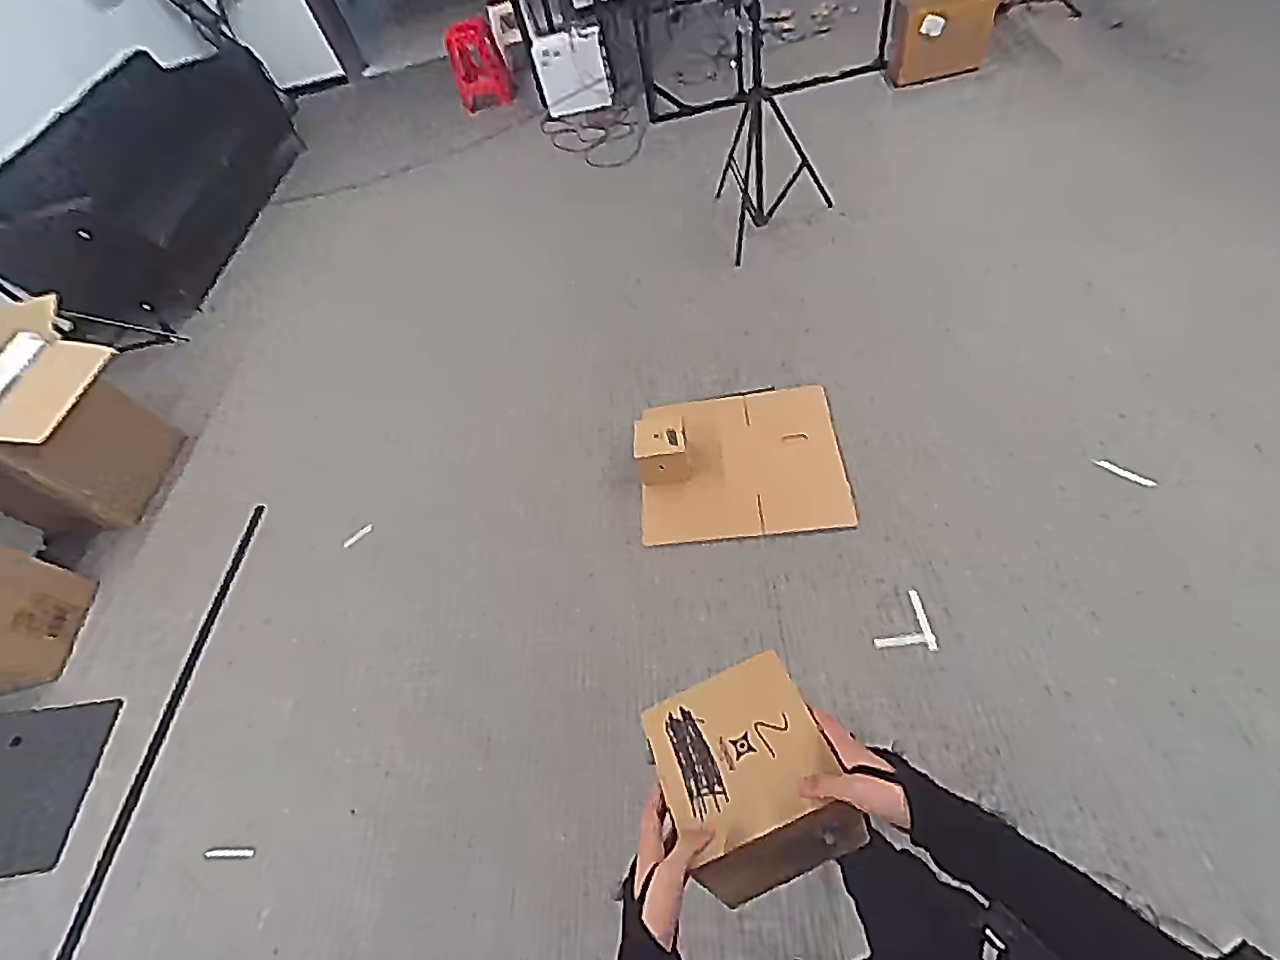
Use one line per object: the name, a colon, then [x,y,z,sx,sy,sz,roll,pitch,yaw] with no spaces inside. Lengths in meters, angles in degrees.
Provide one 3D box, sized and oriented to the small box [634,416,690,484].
small box: [0.081,-0.102,1.907,0.179,0.176,0.168,-7,55,11]
